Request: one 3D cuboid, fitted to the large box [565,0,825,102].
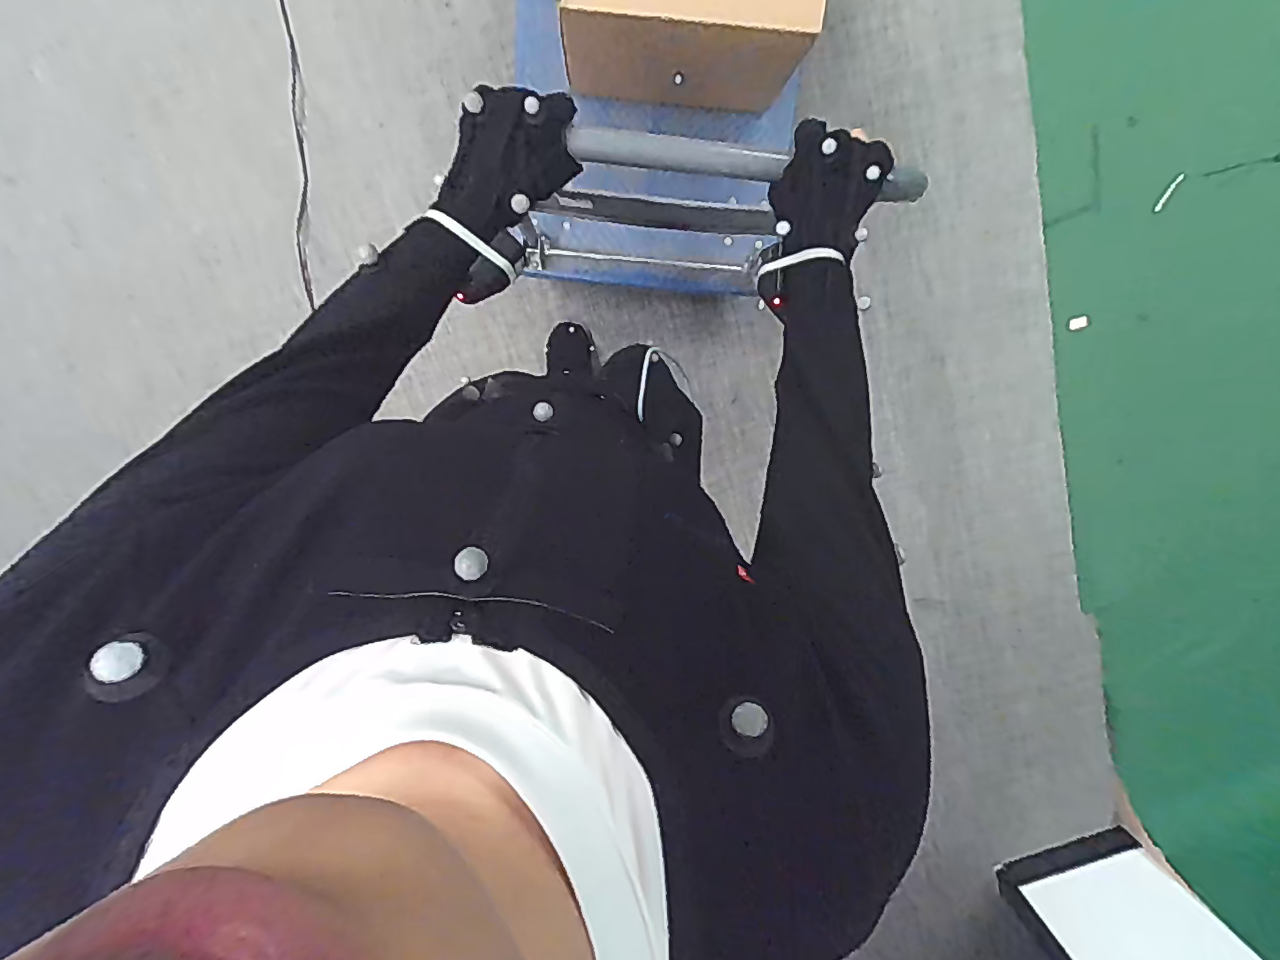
[{"bbox_3d":[0.086,-0.891,0.927,0.408,0.320,0.320,2,105,-4],"label":"large box"}]
